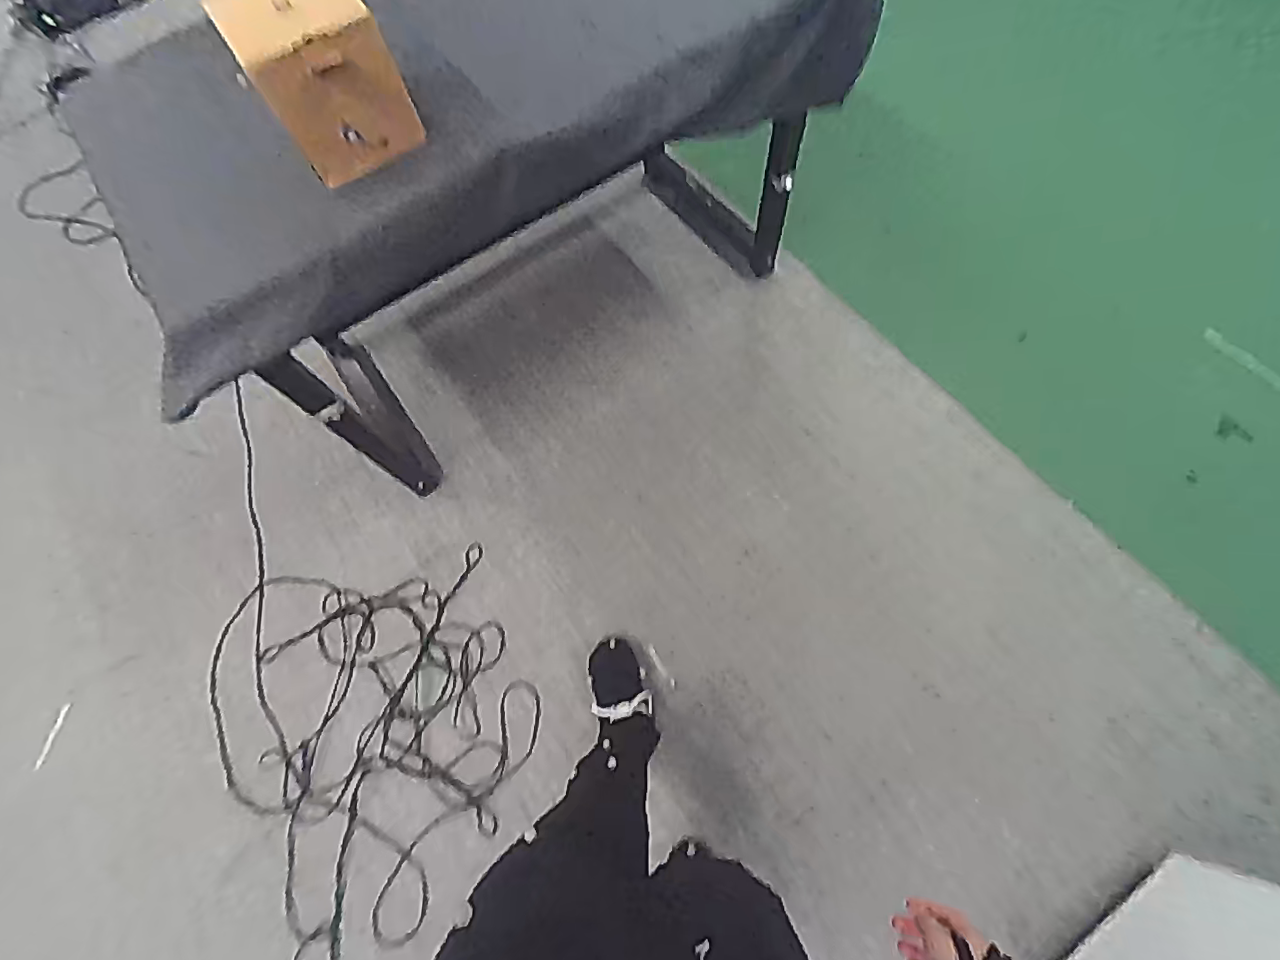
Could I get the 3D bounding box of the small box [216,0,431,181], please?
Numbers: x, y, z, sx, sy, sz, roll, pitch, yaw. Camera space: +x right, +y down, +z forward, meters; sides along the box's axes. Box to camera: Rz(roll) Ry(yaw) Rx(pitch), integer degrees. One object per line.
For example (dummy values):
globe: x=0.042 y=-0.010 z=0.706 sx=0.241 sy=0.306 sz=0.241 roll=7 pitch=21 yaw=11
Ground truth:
small box: x=-0.425 y=-0.561 z=0.749 sx=0.168 sy=0.176 sz=0.179 roll=-34 pitch=71 yaw=-10
